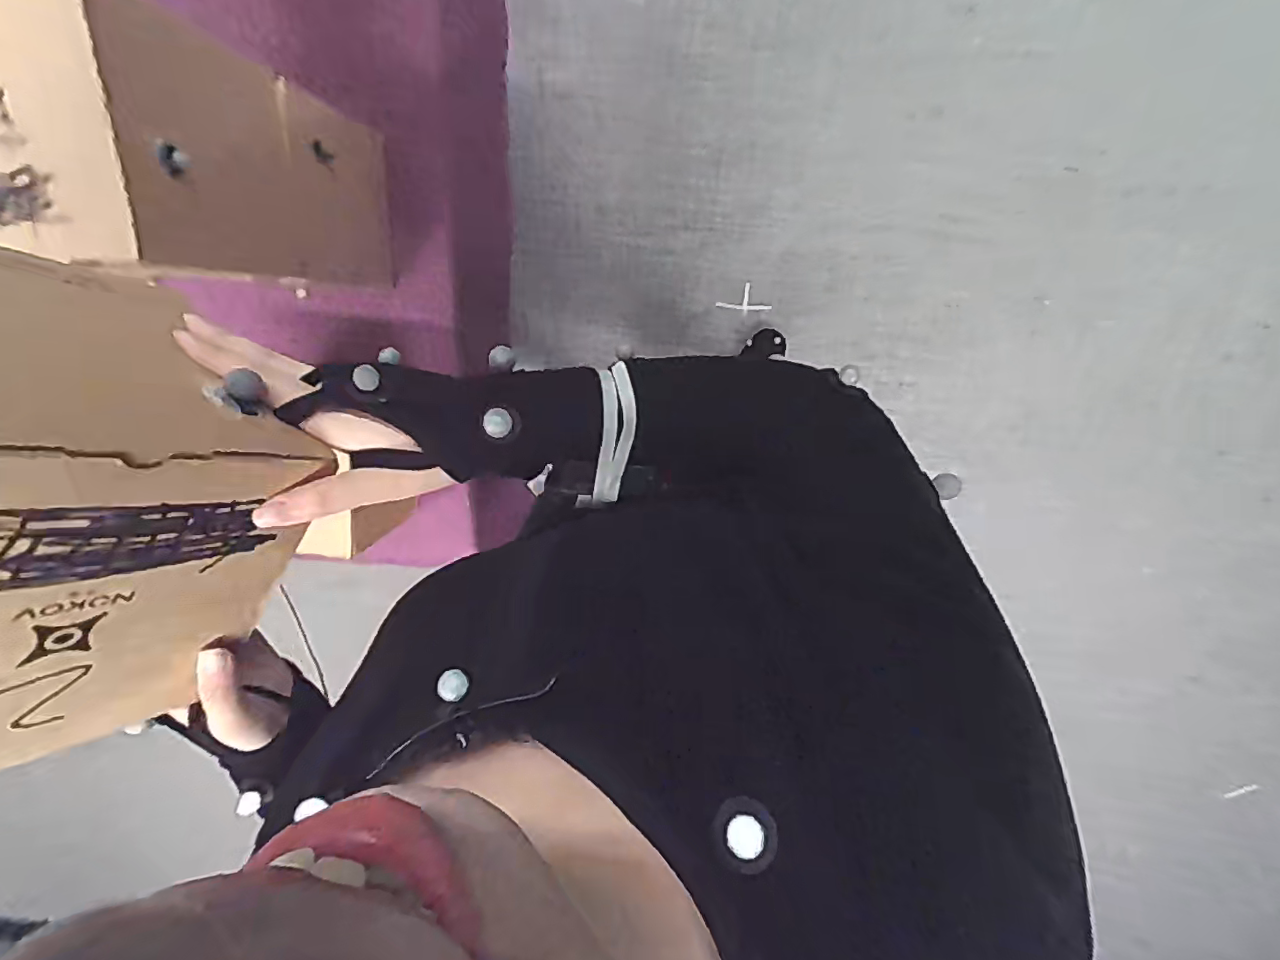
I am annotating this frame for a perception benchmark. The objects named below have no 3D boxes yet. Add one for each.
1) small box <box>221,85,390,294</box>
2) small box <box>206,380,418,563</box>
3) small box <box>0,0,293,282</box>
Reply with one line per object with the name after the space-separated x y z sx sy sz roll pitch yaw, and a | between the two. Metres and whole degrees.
-0.400 -0.307 0.598 0.168 0.176 0.179 6 108 4 | small box
-0.399 -0.021 0.688 0.168 0.176 0.179 10 107 2 | small box
-0.421 -0.259 0.441 0.168 0.176 0.179 3 107 4 | small box
